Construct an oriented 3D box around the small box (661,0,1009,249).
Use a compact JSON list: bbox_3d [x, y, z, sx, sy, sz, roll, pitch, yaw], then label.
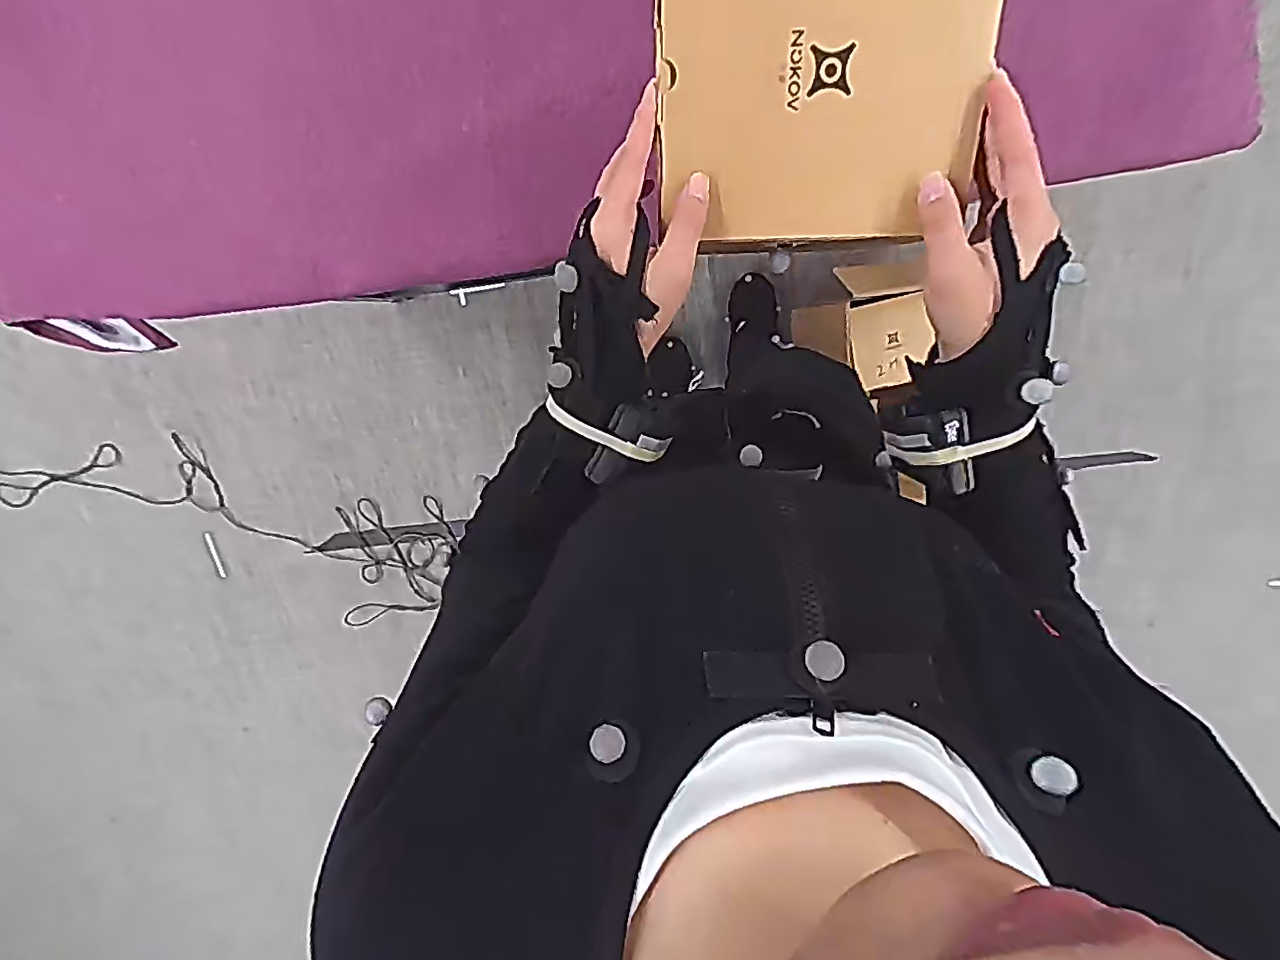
[{"bbox_3d":[0.103,-0.247,0.359,0.179,0.176,0.168,0,111,3],"label":"small box"}]
